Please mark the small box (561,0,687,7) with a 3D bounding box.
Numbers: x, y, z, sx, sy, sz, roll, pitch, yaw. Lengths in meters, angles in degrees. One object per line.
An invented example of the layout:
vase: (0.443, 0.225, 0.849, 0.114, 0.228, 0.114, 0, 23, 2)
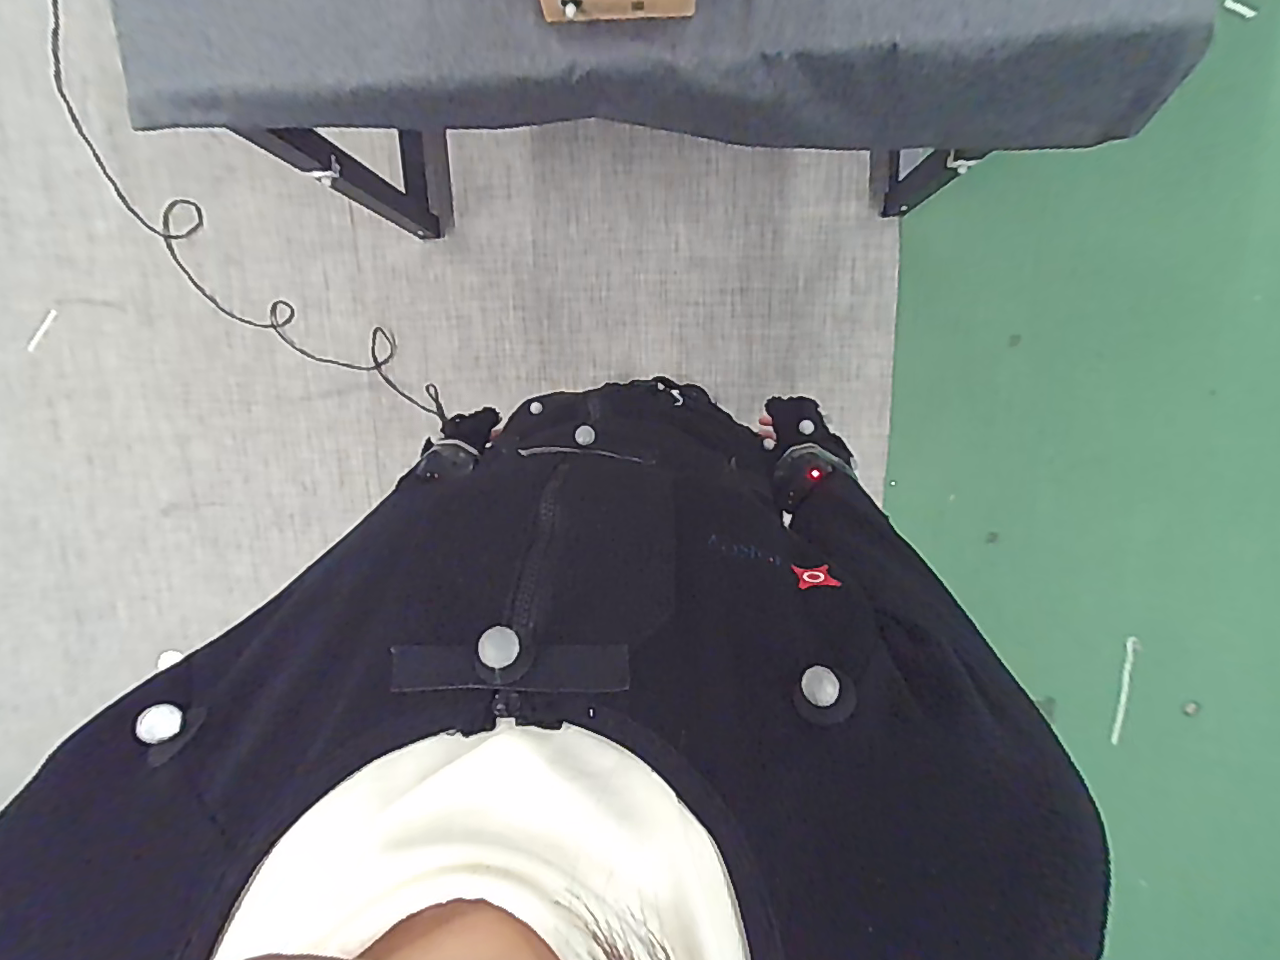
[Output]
small box: (-0.026, -0.597, 0.514, 0.168, 0.176, 0.179, 0, 98, 3)
